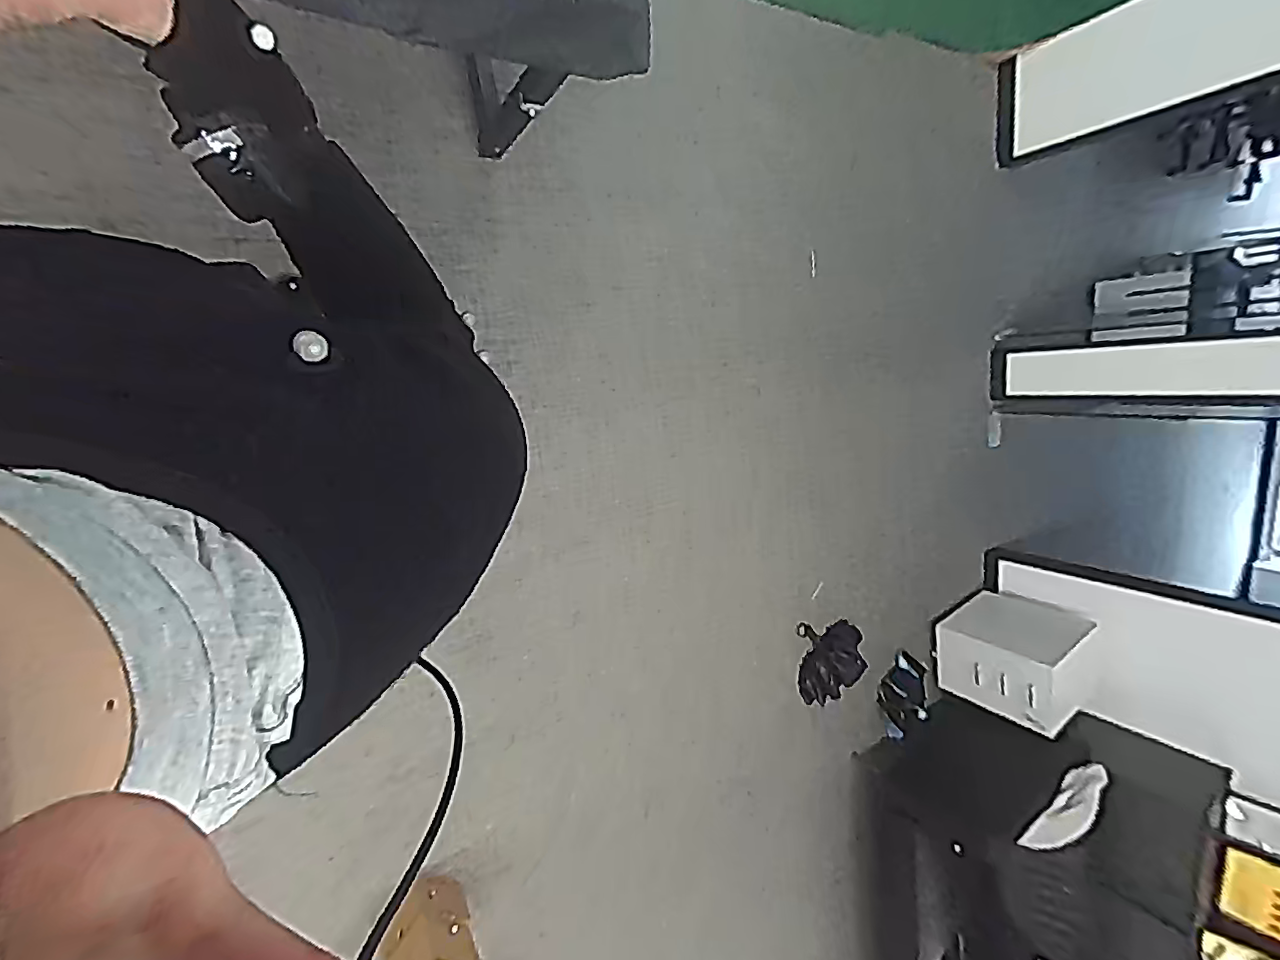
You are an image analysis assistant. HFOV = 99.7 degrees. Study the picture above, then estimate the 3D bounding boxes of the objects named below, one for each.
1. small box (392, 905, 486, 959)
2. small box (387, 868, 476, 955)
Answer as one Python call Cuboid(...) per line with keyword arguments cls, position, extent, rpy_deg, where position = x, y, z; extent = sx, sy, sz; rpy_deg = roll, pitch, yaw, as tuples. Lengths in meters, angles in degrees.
Cuboid(cls="small box", position=(-0.539, 1.293, 1.438), extent=(0.168, 0.176, 0.179), rpy_deg=(44, 72, -30))
Cuboid(cls="small box", position=(-0.616, 1.284, 1.584), extent=(0.168, 0.176, 0.179), rpy_deg=(35, 79, -31))
